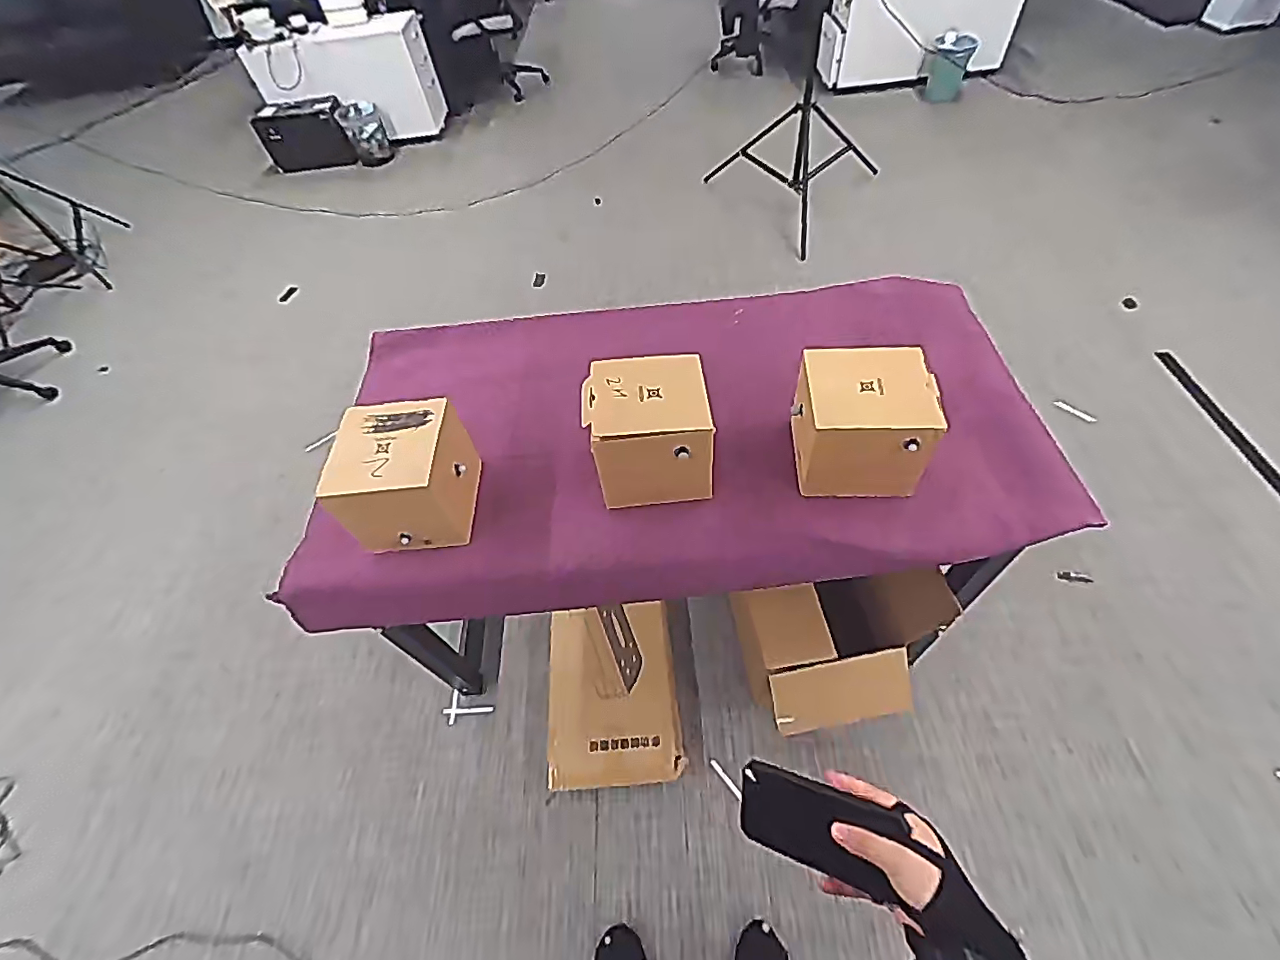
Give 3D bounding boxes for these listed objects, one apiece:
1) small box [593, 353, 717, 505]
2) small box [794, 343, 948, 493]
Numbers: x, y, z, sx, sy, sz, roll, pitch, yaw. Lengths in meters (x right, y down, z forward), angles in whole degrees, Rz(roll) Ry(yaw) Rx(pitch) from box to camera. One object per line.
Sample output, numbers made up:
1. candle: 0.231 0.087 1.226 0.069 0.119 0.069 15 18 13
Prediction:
1. small box: 0.023 -0.078 0.865 0.179 0.176 0.168 -6 51 2
2. small box: 0.340 -0.092 0.840 0.179 0.176 0.168 0 54 6
